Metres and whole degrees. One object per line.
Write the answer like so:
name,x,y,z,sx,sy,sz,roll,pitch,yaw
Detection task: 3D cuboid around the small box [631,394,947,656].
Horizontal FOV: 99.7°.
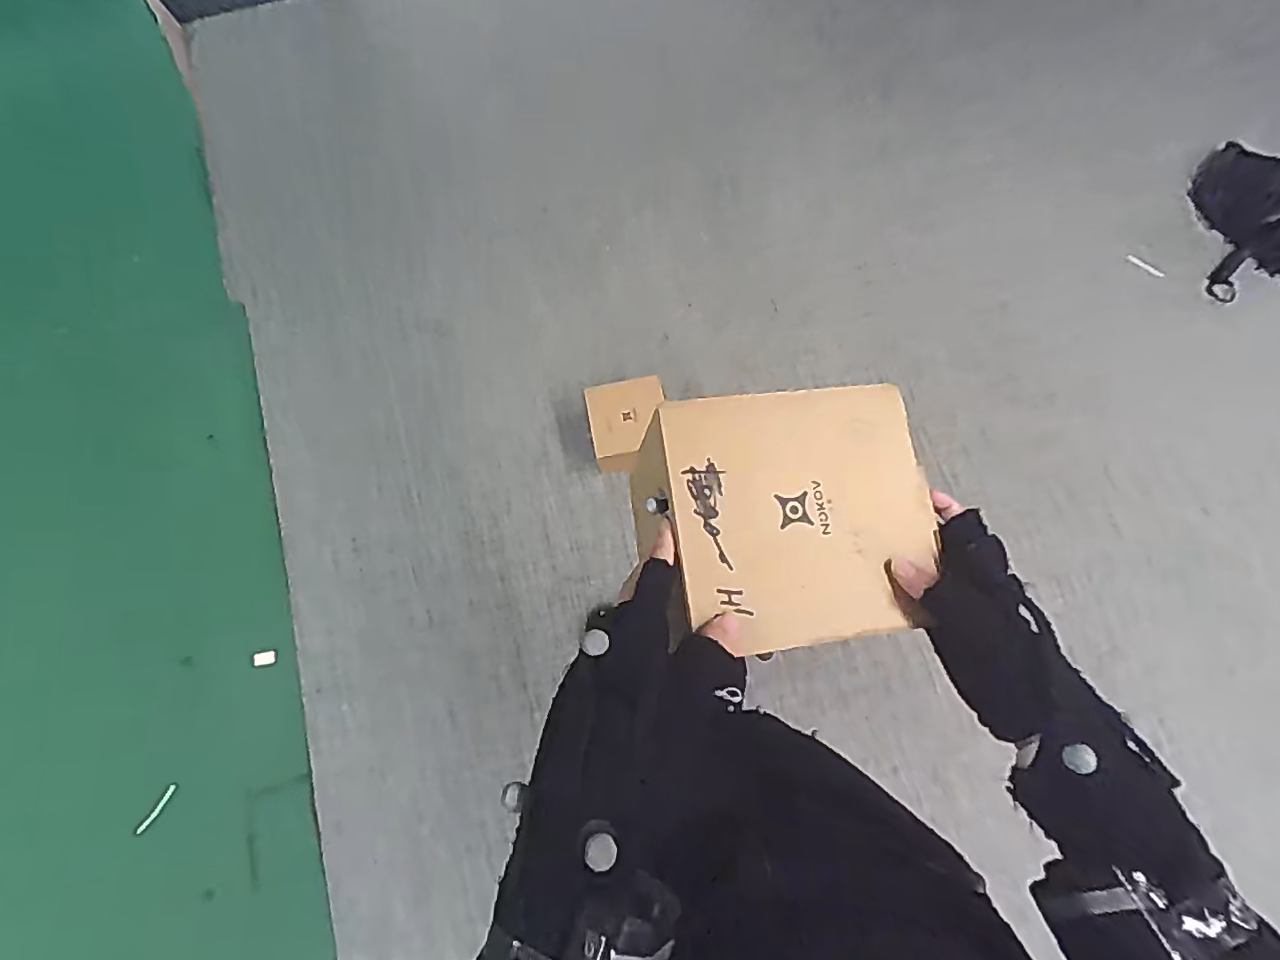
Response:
small box,0.096,0.042,0.434,0.179,0.176,0.168,-5,75,-10

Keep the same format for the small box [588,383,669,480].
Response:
small box,-0.015,-0.108,1.268,0.179,0.176,0.168,-12,78,0
